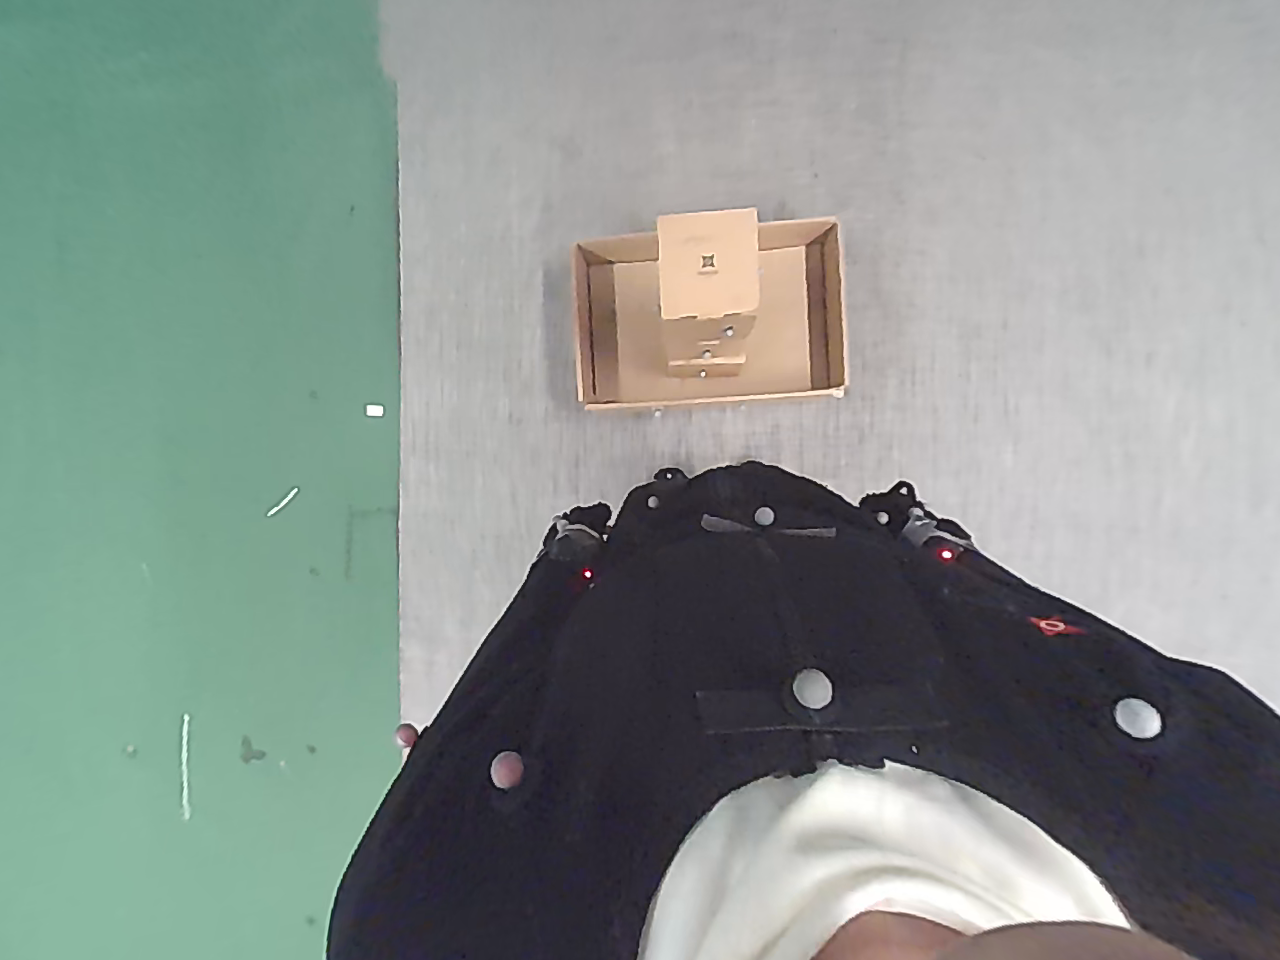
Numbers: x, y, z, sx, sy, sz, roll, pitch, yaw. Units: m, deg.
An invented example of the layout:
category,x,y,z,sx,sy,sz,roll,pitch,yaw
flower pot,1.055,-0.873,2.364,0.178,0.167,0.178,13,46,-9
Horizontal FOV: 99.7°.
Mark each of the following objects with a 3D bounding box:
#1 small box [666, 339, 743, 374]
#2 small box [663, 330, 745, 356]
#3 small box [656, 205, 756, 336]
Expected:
category,x,y,z,sx,sy,sz,roll,pitch,yaw
small box,0.156,-0.355,1.317,0.179,0.176,0.168,1,90,7
small box,0.134,-0.369,1.158,0.168,0.176,0.179,-5,90,7
small box,0.116,-0.365,0.977,0.168,0.176,0.179,-2,90,4
